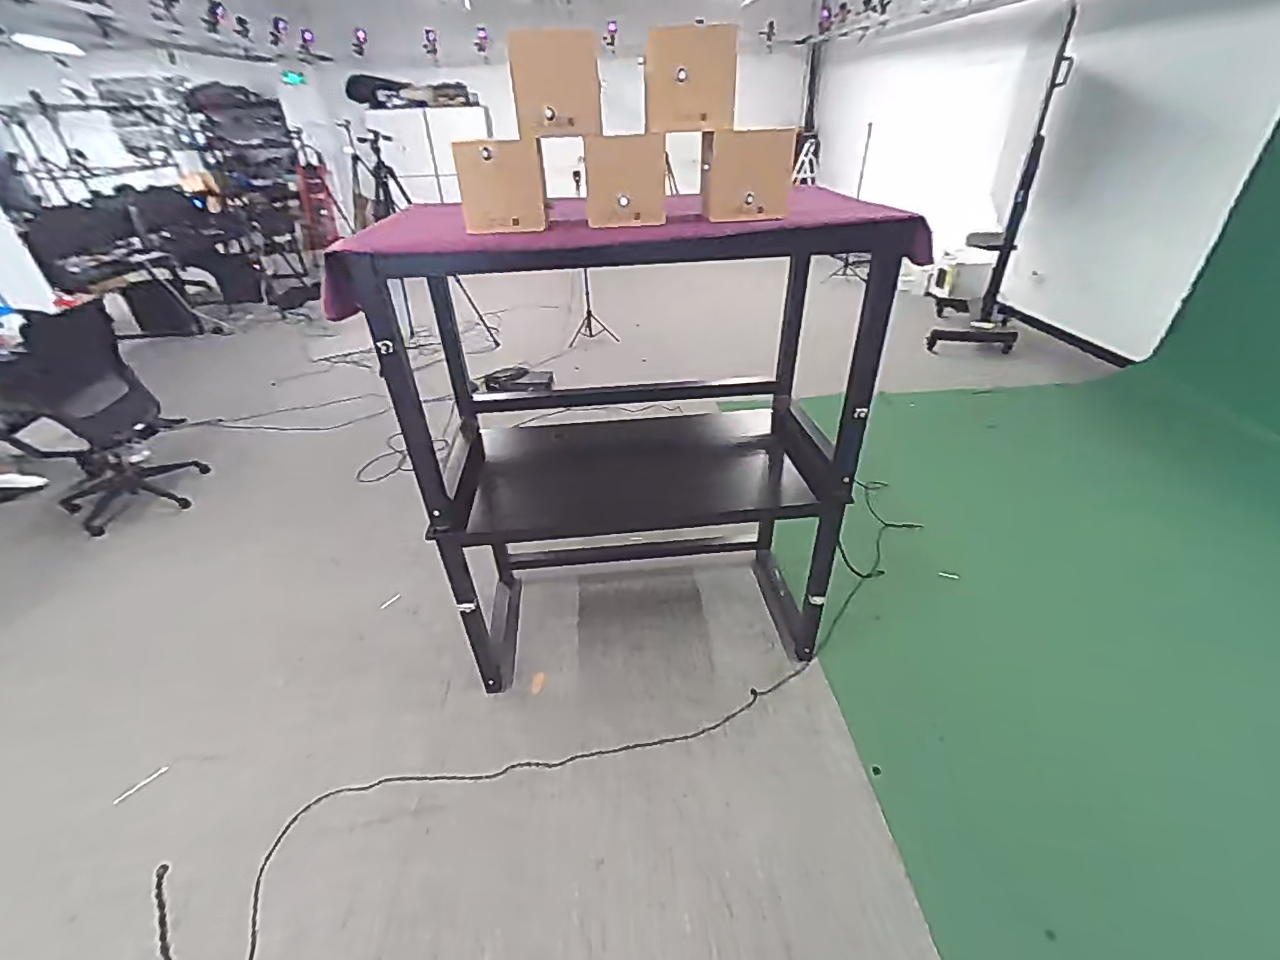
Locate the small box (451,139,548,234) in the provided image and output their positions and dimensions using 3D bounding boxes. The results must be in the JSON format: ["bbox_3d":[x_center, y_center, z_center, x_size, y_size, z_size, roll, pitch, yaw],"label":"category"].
[{"bbox_3d":[-0.290,-0.628,1.156,0.168,0.176,0.179,-5,32,-4],"label":"small box"}]

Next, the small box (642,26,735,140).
[{"bbox_3d":[0.094,-0.790,1.091,0.168,0.176,0.179,-4,32,-2],"label":"small box"}]

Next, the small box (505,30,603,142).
[{"bbox_3d":[-0.164,-0.777,1.081,0.168,0.176,0.179,-4,33,-1],"label":"small box"}]

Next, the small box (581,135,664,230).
[{"bbox_3d":[-0.038,-0.646,1.174,0.168,0.176,0.179,-4,33,-3],"label":"small box"}]
